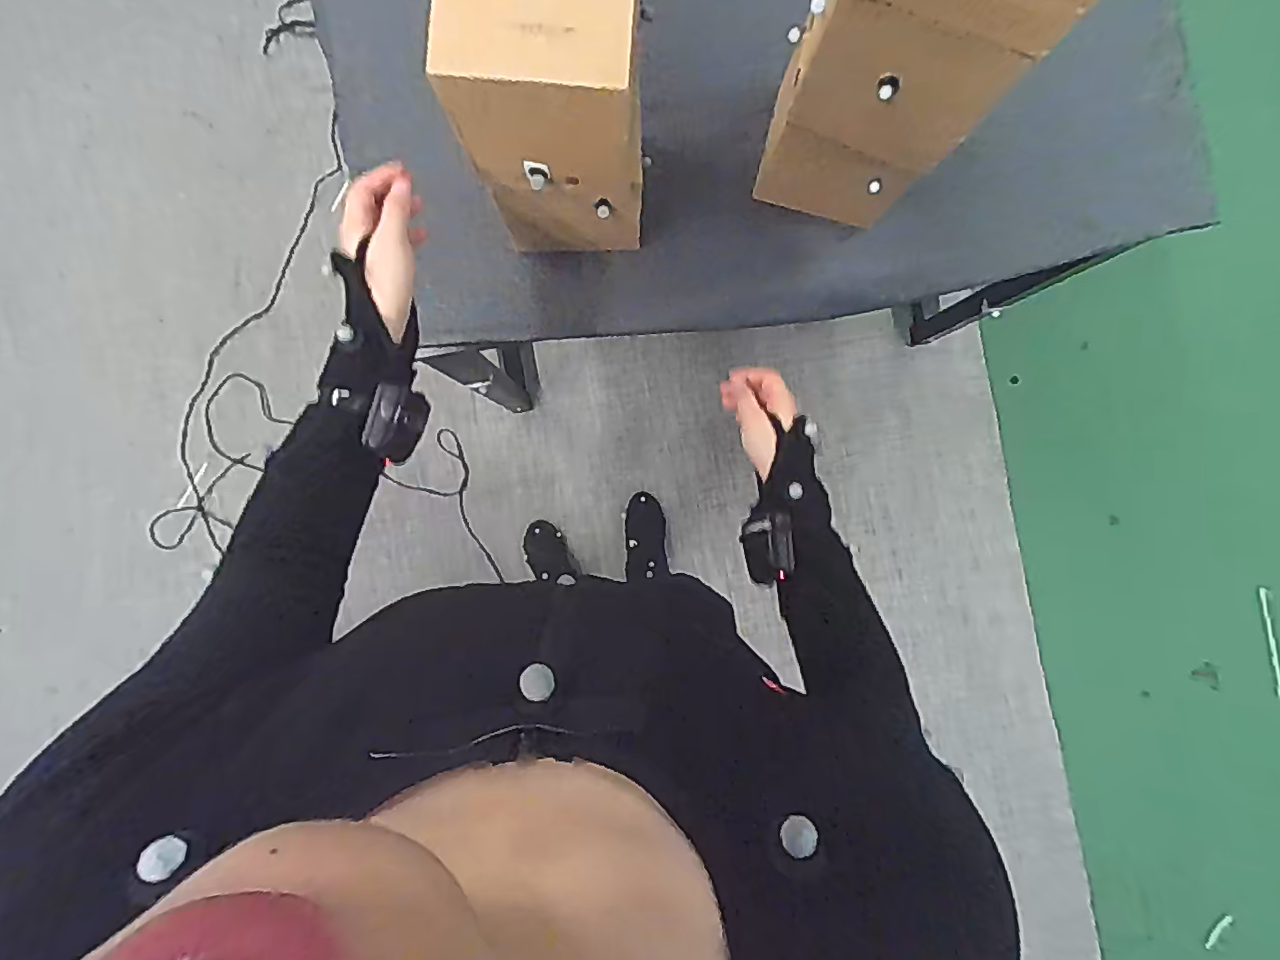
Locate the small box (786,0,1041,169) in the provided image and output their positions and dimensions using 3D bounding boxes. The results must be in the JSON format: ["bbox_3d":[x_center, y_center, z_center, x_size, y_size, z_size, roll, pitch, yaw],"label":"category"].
[{"bbox_3d":[0.269,-0.441,0.522,0.179,0.176,0.168,22,88,-1],"label":"small box"}]

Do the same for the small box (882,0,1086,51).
[{"bbox_3d":[0.270,-0.443,0.359,0.179,0.176,0.168,19,88,-1],"label":"small box"}]

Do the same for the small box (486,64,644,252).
[{"bbox_3d":[-0.087,-0.402,0.681,0.179,0.176,0.168,-2,89,-1],"label":"small box"}]

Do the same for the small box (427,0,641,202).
[{"bbox_3d":[-0.086,-0.401,0.518,0.168,0.176,0.179,4,90,0],"label":"small box"}]
